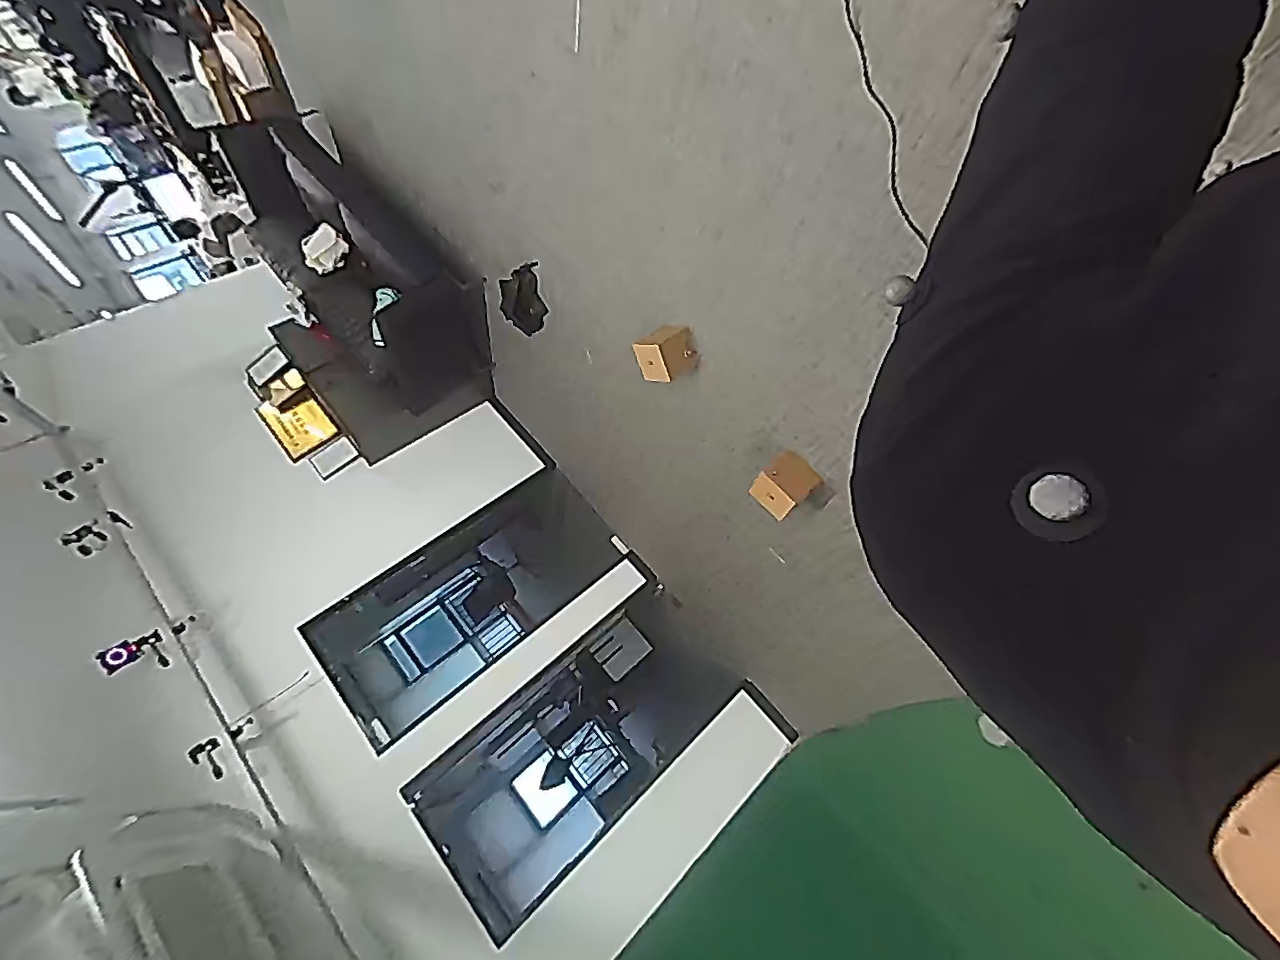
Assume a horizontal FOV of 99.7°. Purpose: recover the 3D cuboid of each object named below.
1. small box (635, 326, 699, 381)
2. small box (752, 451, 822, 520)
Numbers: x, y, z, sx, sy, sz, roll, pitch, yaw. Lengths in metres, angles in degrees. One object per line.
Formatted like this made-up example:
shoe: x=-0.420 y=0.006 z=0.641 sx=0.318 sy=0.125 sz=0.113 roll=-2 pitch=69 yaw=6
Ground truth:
small box: x=0.113 y=-0.521 z=2.217 sx=0.179 sy=0.176 sz=0.168 roll=18 pitch=139 yaw=51
small box: x=0.572 y=0.016 z=2.095 sx=0.179 sy=0.176 sz=0.168 roll=46 pitch=155 yaw=18
